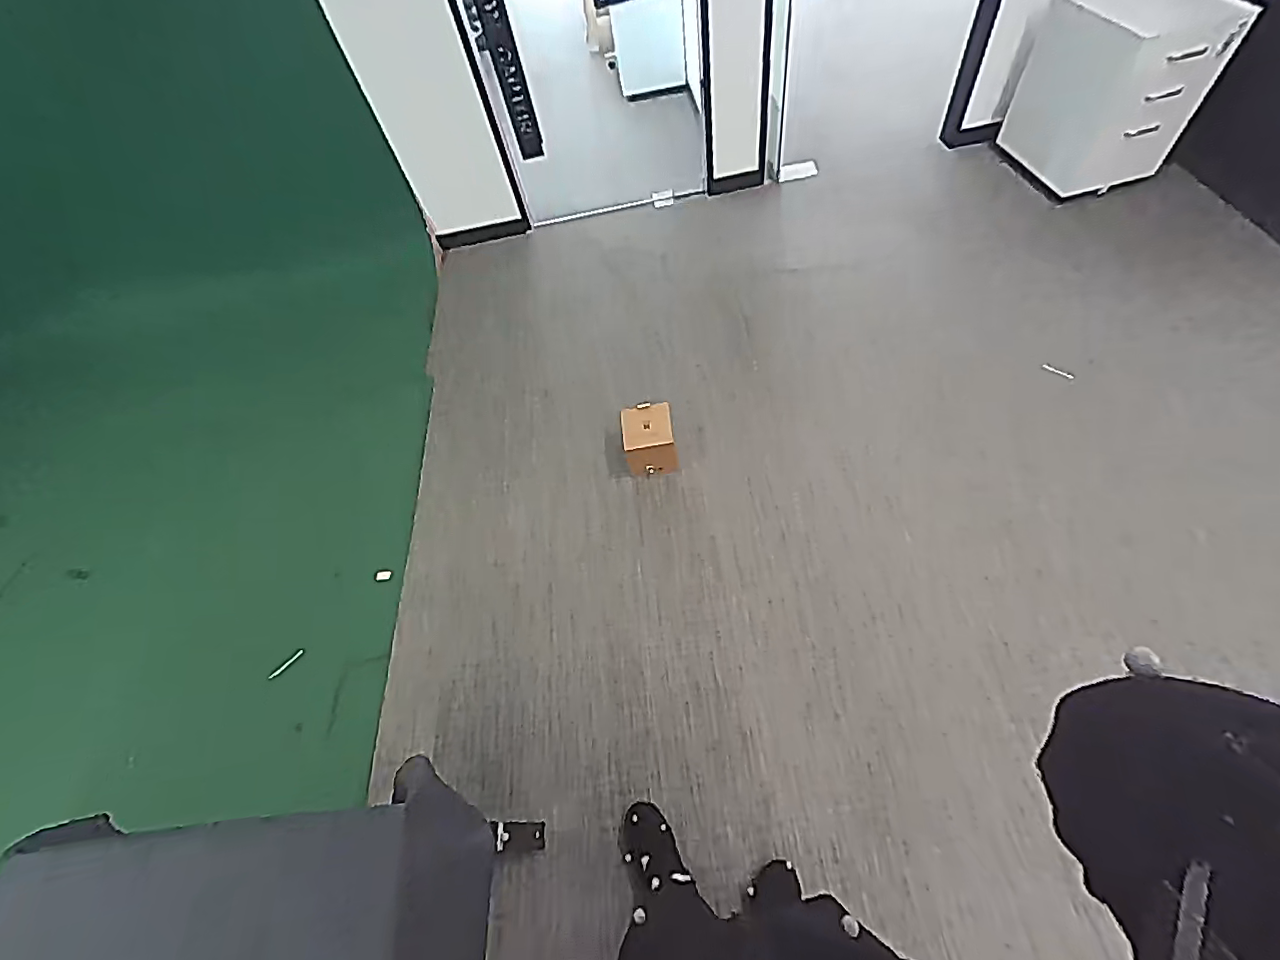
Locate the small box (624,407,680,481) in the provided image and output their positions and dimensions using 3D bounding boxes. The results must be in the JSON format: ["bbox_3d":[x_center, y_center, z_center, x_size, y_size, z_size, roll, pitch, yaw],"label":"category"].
[{"bbox_3d":[0.042,-0.119,1.835,0.168,0.176,0.179,-8,56,7],"label":"small box"}]
